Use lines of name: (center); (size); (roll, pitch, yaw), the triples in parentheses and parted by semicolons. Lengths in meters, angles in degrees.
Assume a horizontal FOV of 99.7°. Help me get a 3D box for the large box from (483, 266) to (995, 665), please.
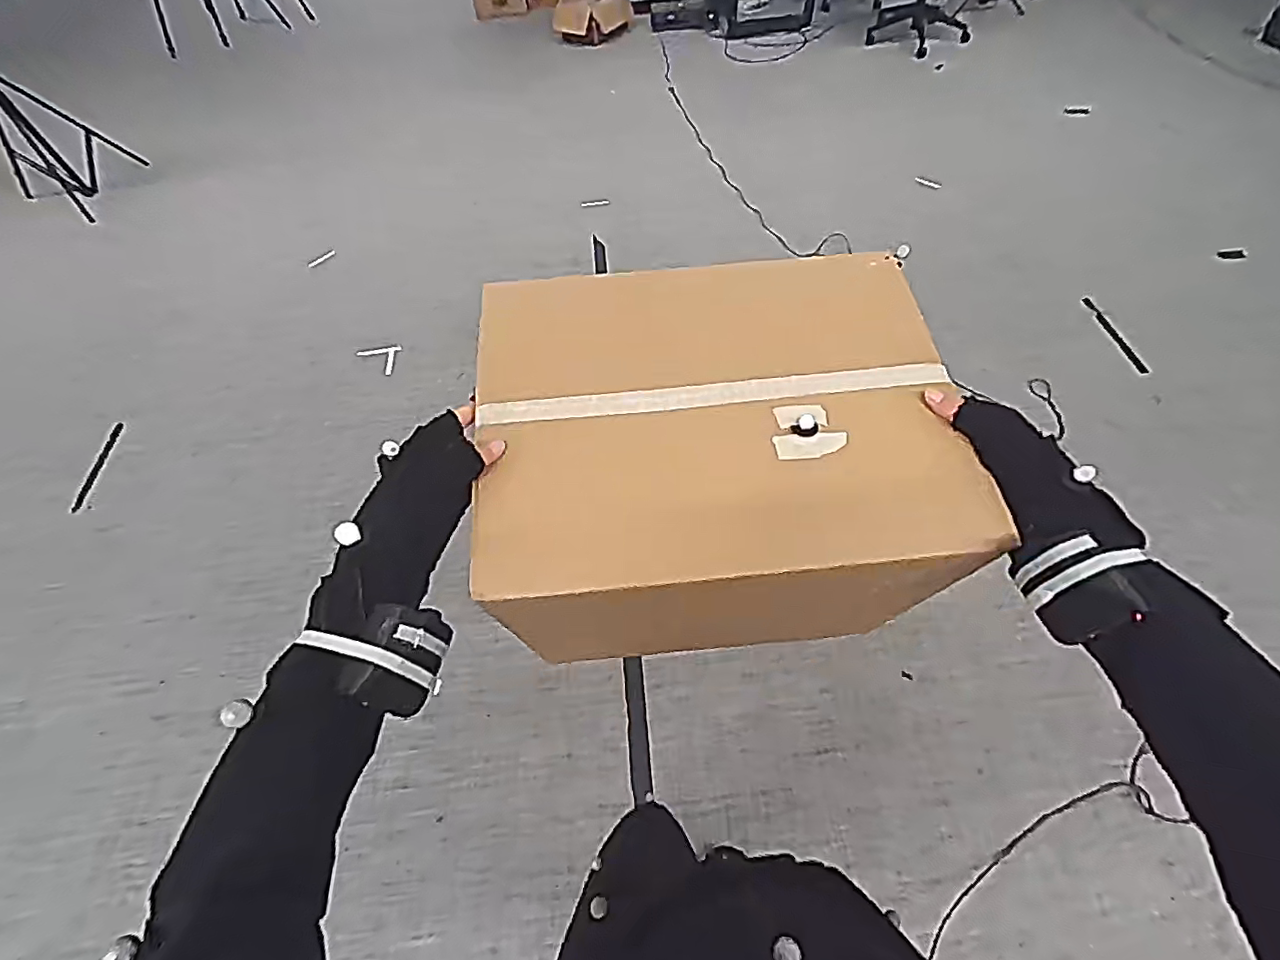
large box: (0.064, 0.004, 0.607); (0.408, 0.320, 0.320); (-5, 63, -2)
